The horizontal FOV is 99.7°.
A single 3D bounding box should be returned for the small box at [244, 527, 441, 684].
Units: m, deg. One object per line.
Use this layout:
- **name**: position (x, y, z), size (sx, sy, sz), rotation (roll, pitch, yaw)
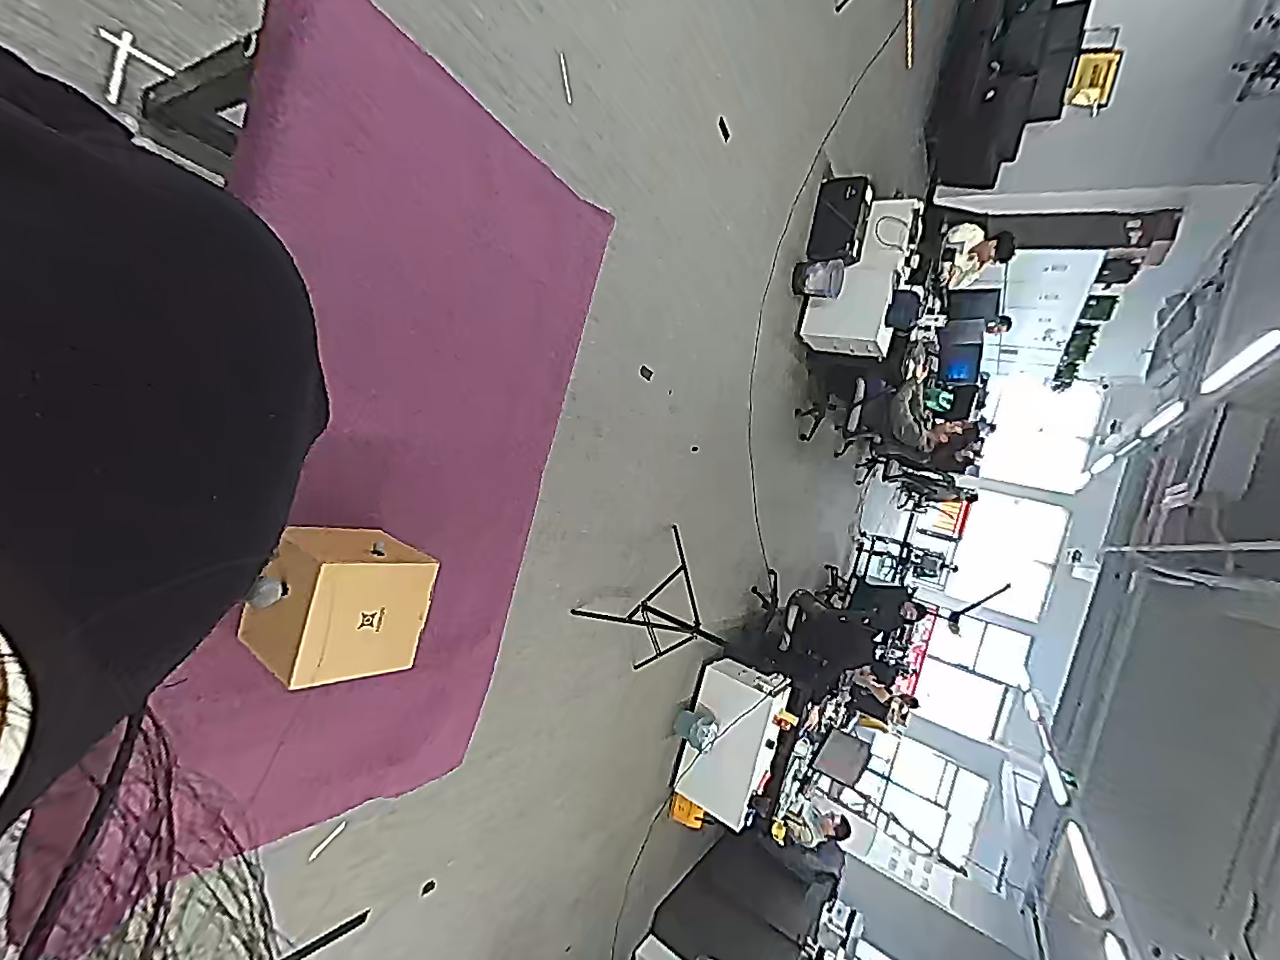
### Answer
- **small box**: position (-0.428, 0.169, 0.780), size (0.179, 0.176, 0.168), rotation (14, 92, -58)
